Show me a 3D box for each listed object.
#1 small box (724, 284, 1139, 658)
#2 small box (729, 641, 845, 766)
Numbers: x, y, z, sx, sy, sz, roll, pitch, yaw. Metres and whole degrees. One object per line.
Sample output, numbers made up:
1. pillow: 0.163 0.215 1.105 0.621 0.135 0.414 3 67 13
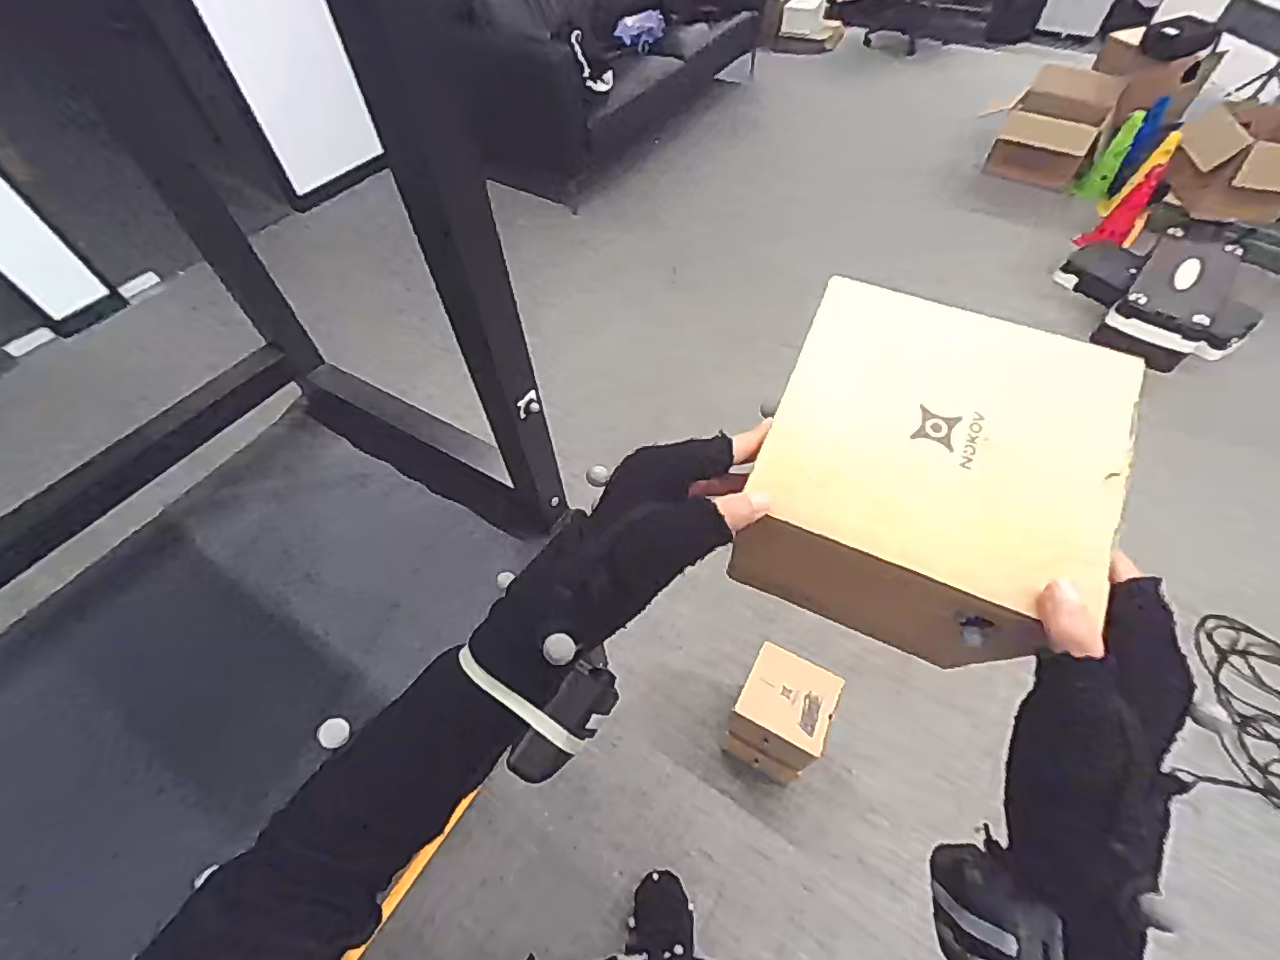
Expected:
1. small box: 0.164 0.008 0.360 0.179 0.176 0.168 21 73 14
2. small box: 0.302 0.474 1.136 0.179 0.176 0.168 24 59 20
